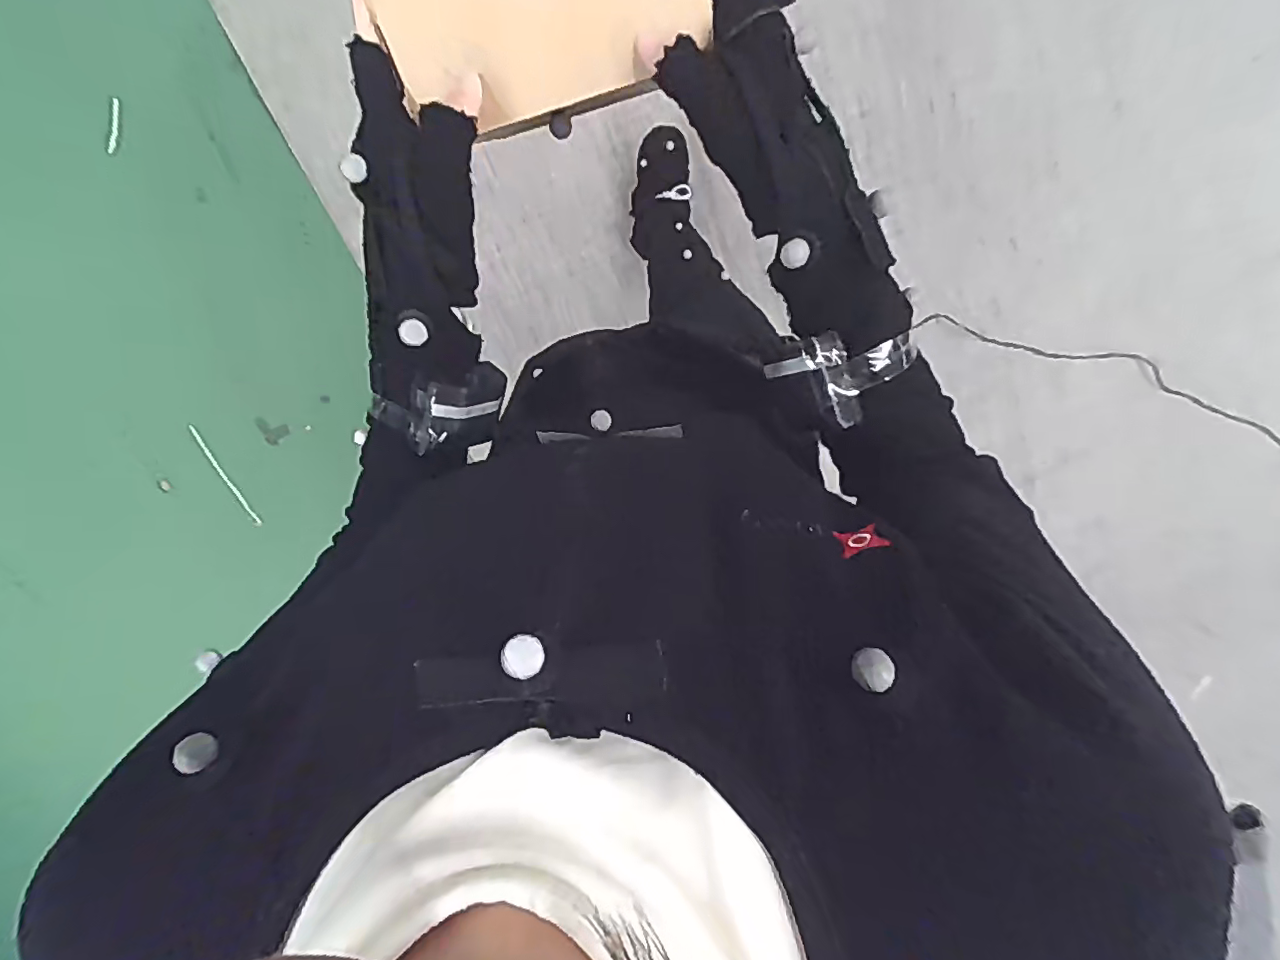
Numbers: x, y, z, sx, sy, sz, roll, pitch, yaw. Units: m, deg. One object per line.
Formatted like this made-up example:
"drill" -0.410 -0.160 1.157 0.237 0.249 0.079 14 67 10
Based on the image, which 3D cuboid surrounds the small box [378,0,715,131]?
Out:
"small box" -0.060 -0.334 0.332 0.179 0.176 0.168 -14 121 10
